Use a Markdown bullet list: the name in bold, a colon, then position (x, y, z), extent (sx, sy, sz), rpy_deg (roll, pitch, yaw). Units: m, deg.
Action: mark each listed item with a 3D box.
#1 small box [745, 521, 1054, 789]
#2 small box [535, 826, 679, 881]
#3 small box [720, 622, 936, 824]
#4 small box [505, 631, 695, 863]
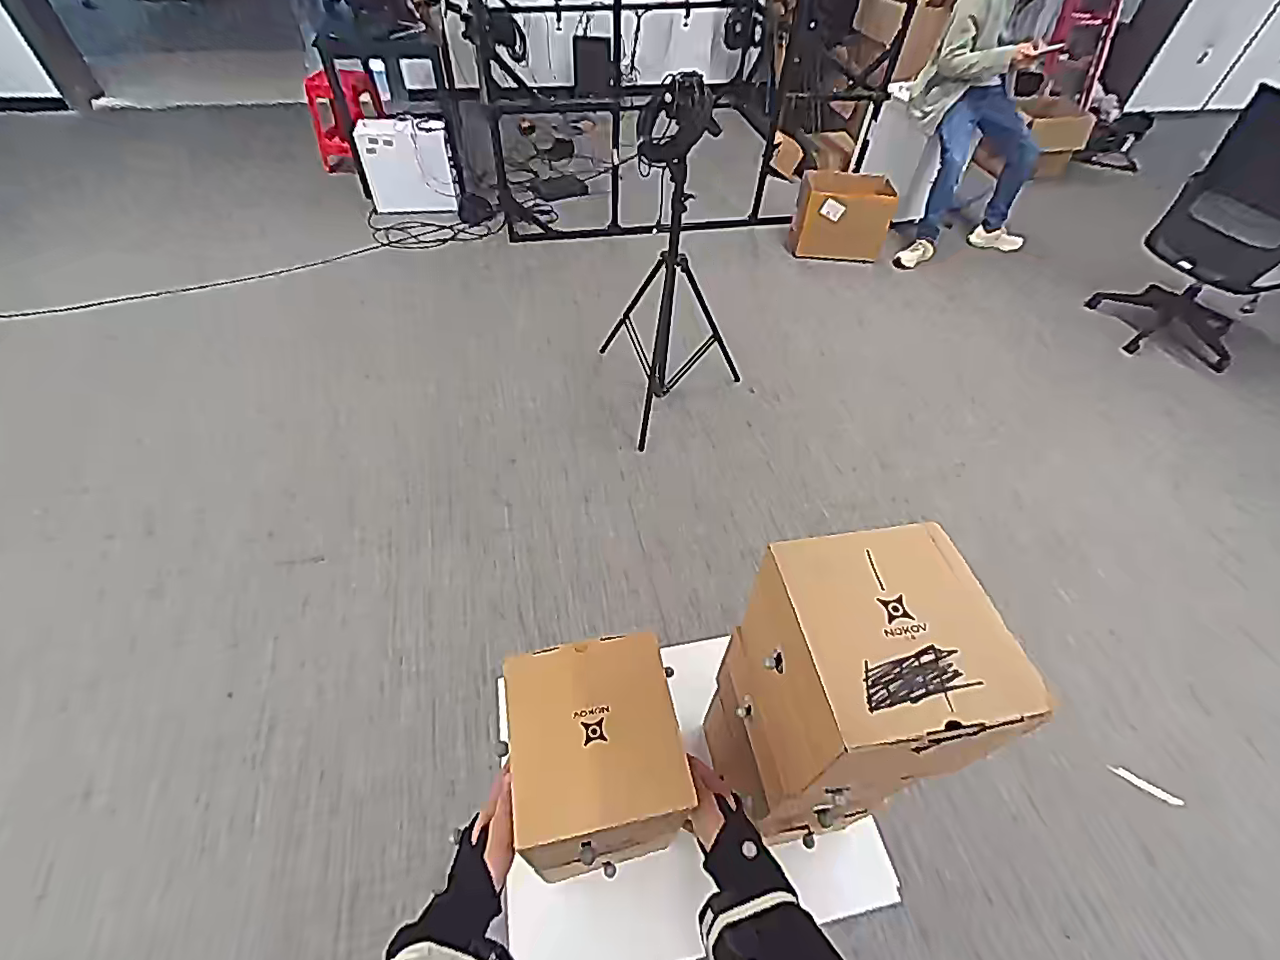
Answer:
- **small box**: position (0.206, 0.163, 0.493), extent (0.168, 0.176, 0.179), rpy_deg (-7, 49, -7)
- **small box**: position (-0.057, 0.397, 0.710), extent (0.168, 0.176, 0.179), rpy_deg (-10, 51, -11)
- **small box**: position (0.199, 0.267, 0.620), extent (0.168, 0.176, 0.179), rpy_deg (-8, 51, -8)
- **small box**: position (-0.048, 0.292, 0.585), extent (0.168, 0.176, 0.179), rpy_deg (-8, 49, -11)
